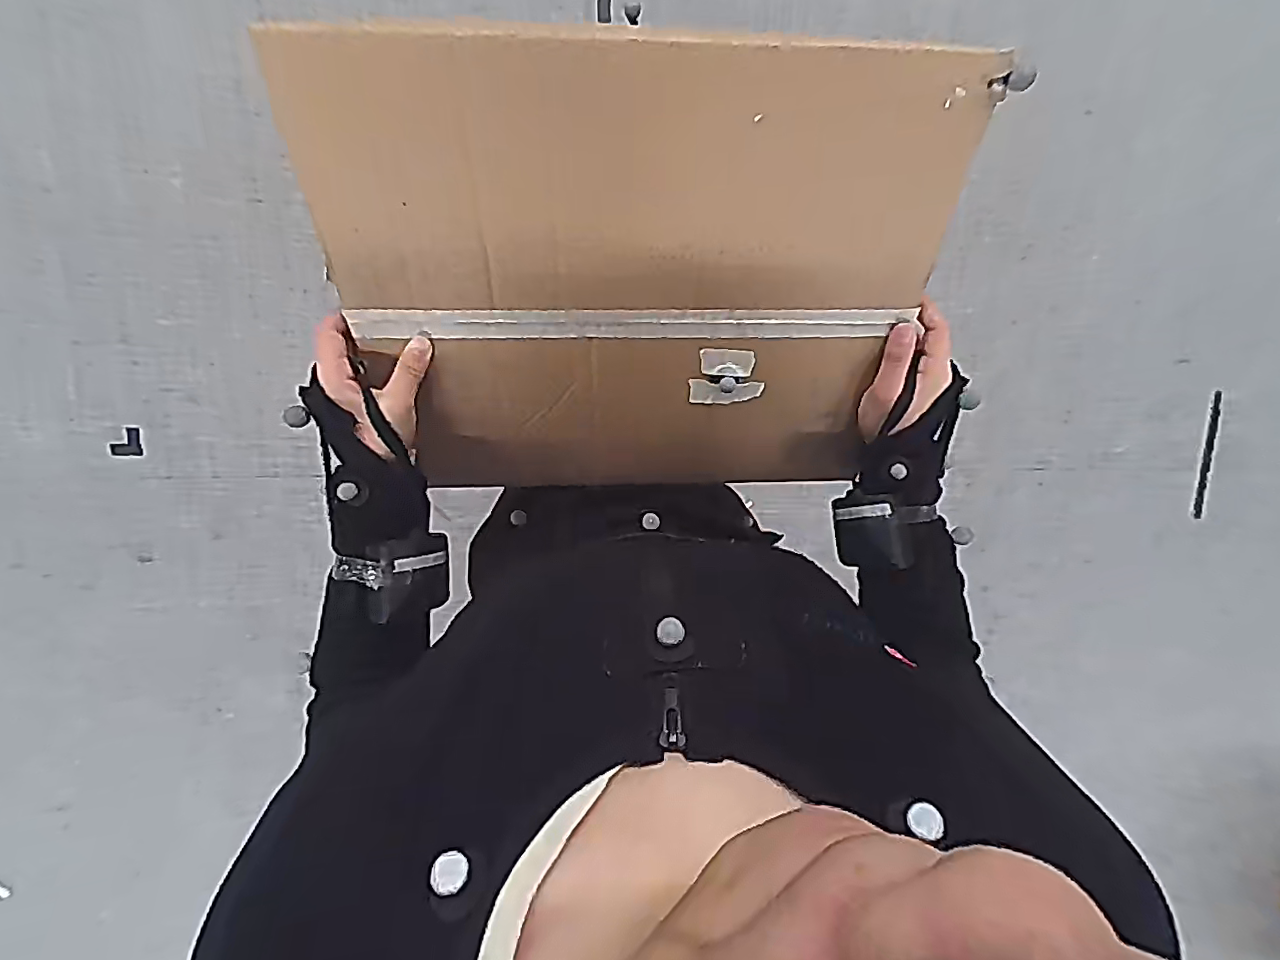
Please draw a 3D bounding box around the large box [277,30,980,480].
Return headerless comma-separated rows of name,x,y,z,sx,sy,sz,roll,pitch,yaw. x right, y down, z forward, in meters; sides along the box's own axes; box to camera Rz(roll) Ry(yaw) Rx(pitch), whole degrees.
large box,-0.014,-0.221,0.508,0.408,0.320,0.320,-2,132,-5
